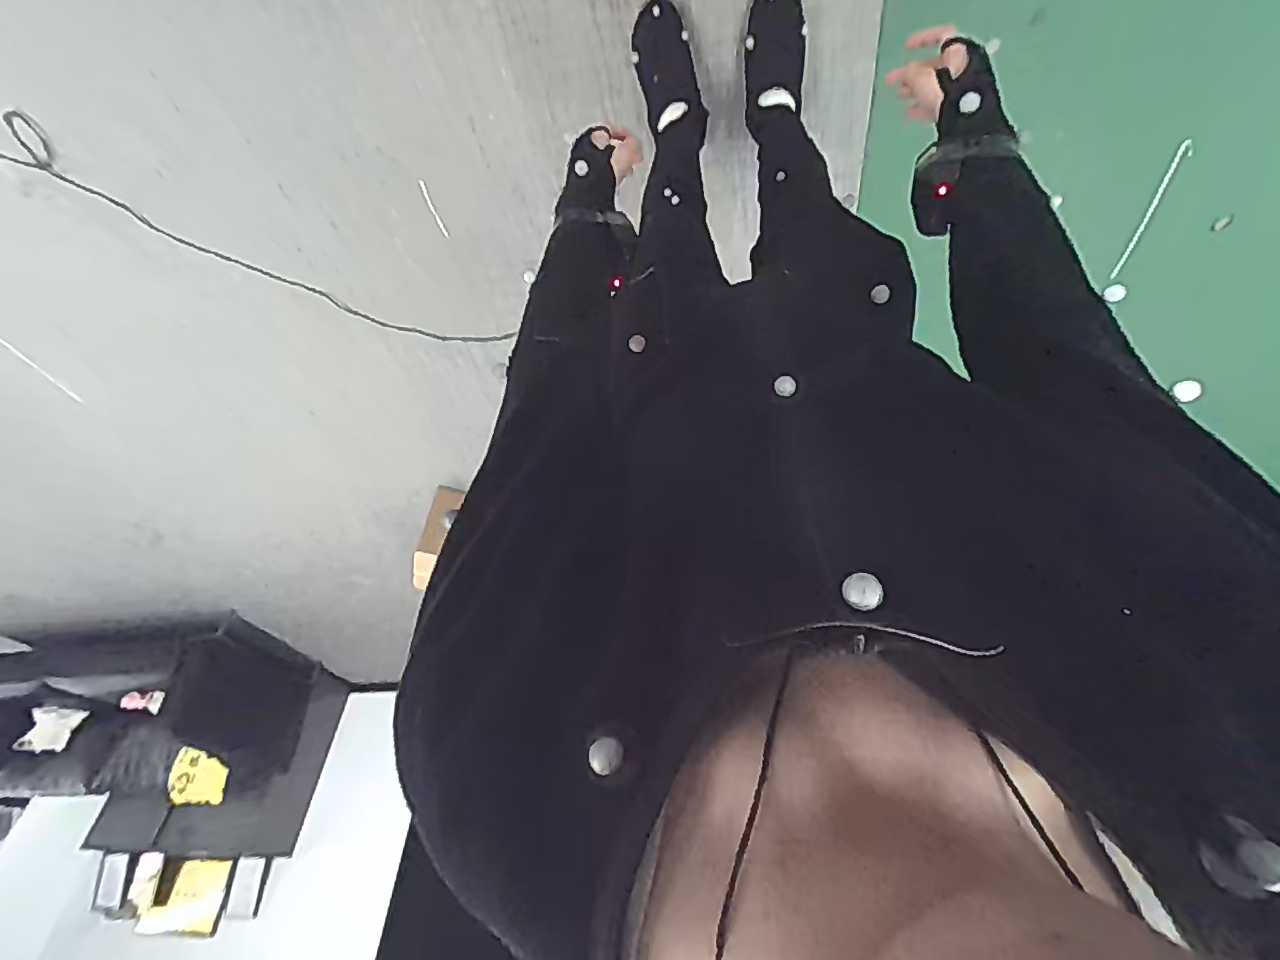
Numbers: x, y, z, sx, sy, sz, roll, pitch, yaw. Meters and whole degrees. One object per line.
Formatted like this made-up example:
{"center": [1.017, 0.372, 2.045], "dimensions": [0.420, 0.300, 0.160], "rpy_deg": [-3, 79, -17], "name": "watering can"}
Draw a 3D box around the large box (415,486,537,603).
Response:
{"center": [-0.667, 0.269, 2.217], "dimensions": [0.408, 0.320, 0.320], "rpy_deg": [15, 139, -12], "name": "large box"}
